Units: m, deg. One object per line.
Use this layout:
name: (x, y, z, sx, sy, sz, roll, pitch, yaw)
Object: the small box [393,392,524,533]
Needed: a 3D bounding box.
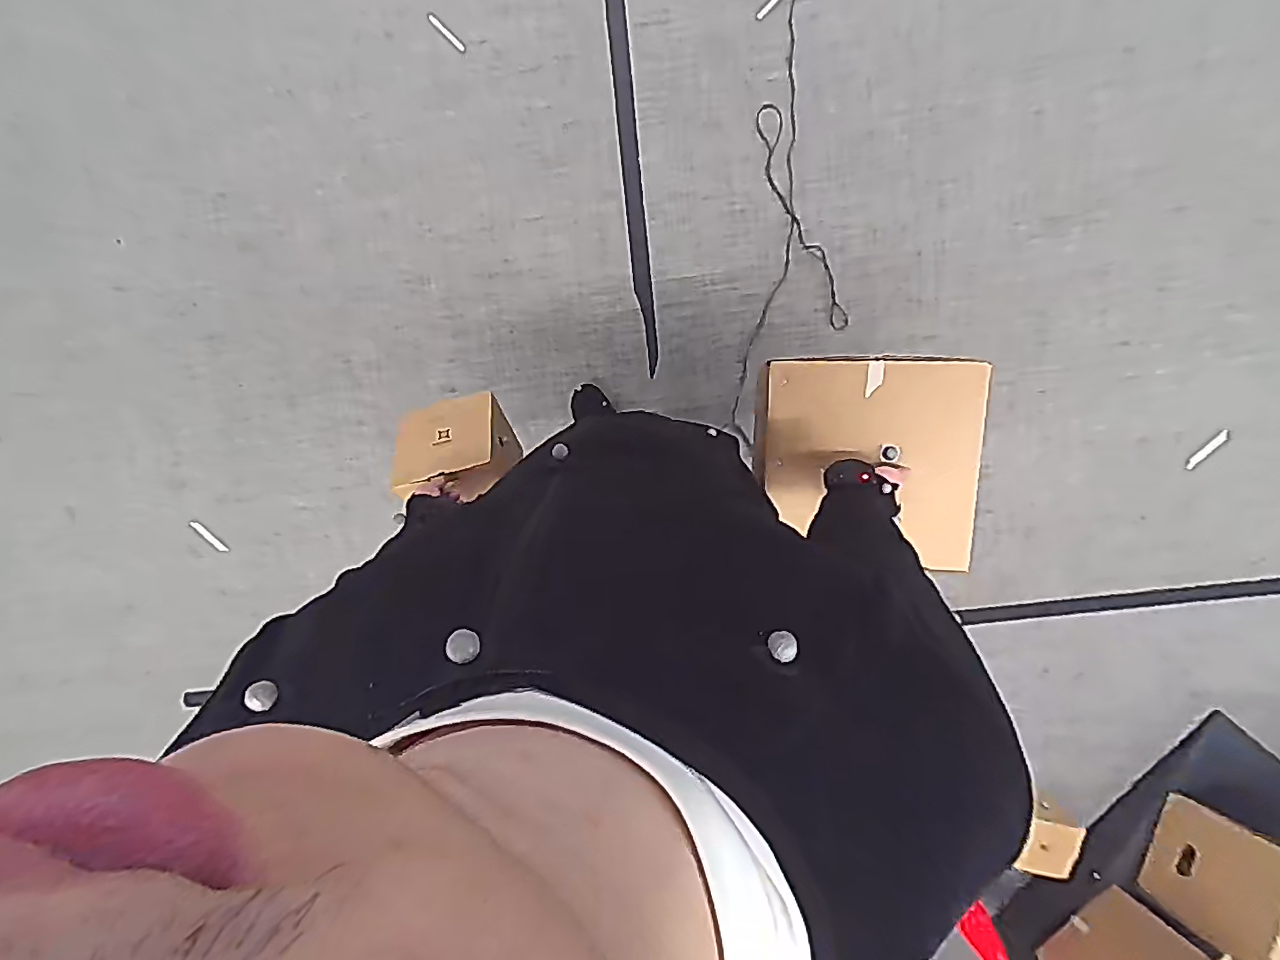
small box: (-0.313, -0.023, 0.967, 0.168, 0.179, 0.176, -14, 142, 2)
